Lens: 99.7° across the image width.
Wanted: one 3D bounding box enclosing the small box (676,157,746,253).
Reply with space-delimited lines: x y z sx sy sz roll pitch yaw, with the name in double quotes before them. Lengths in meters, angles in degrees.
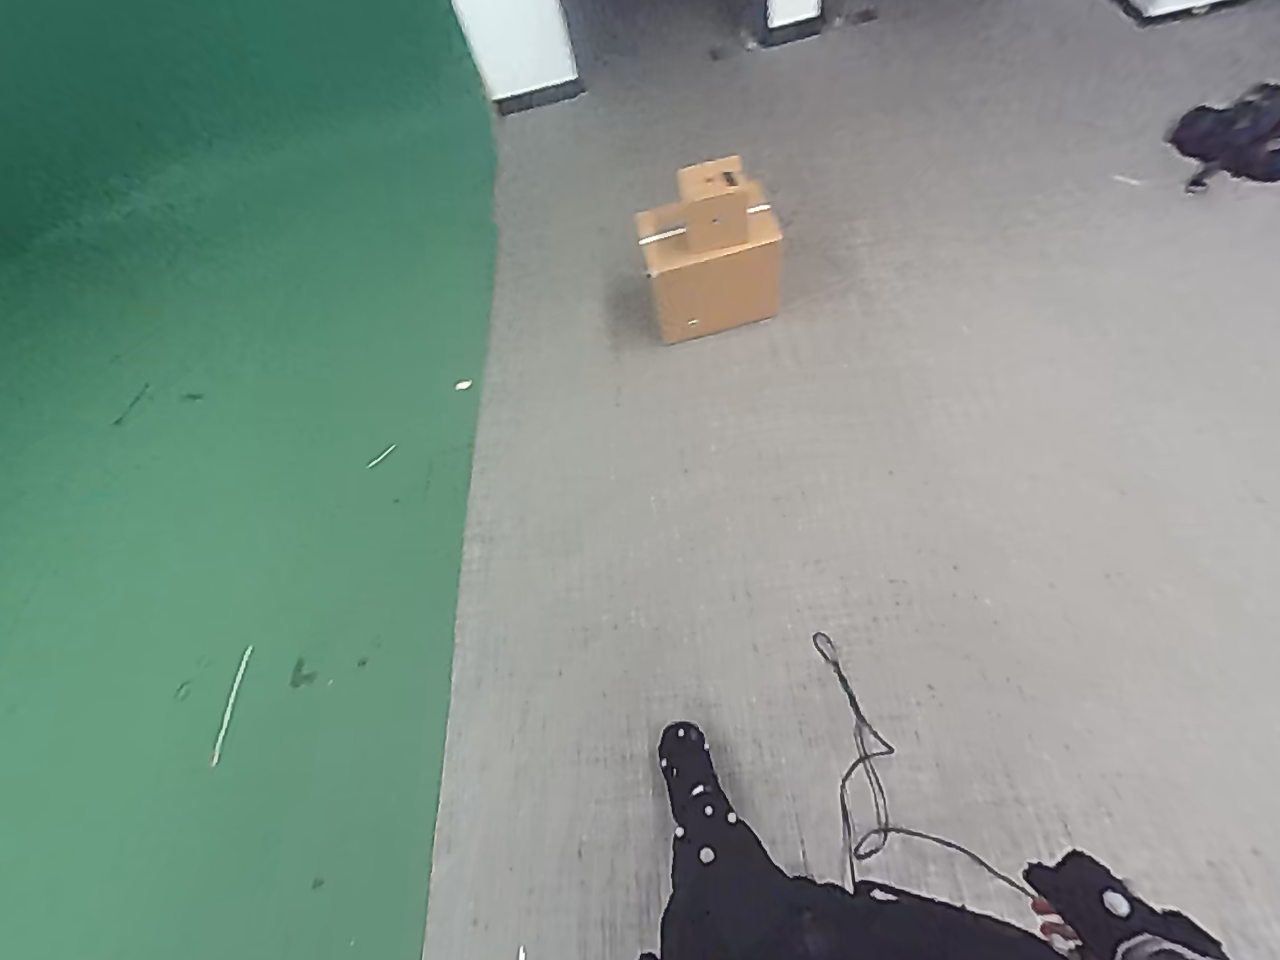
"small box" 0.208 -0.793 1.568 0.179 0.176 0.168 -10 60 7
